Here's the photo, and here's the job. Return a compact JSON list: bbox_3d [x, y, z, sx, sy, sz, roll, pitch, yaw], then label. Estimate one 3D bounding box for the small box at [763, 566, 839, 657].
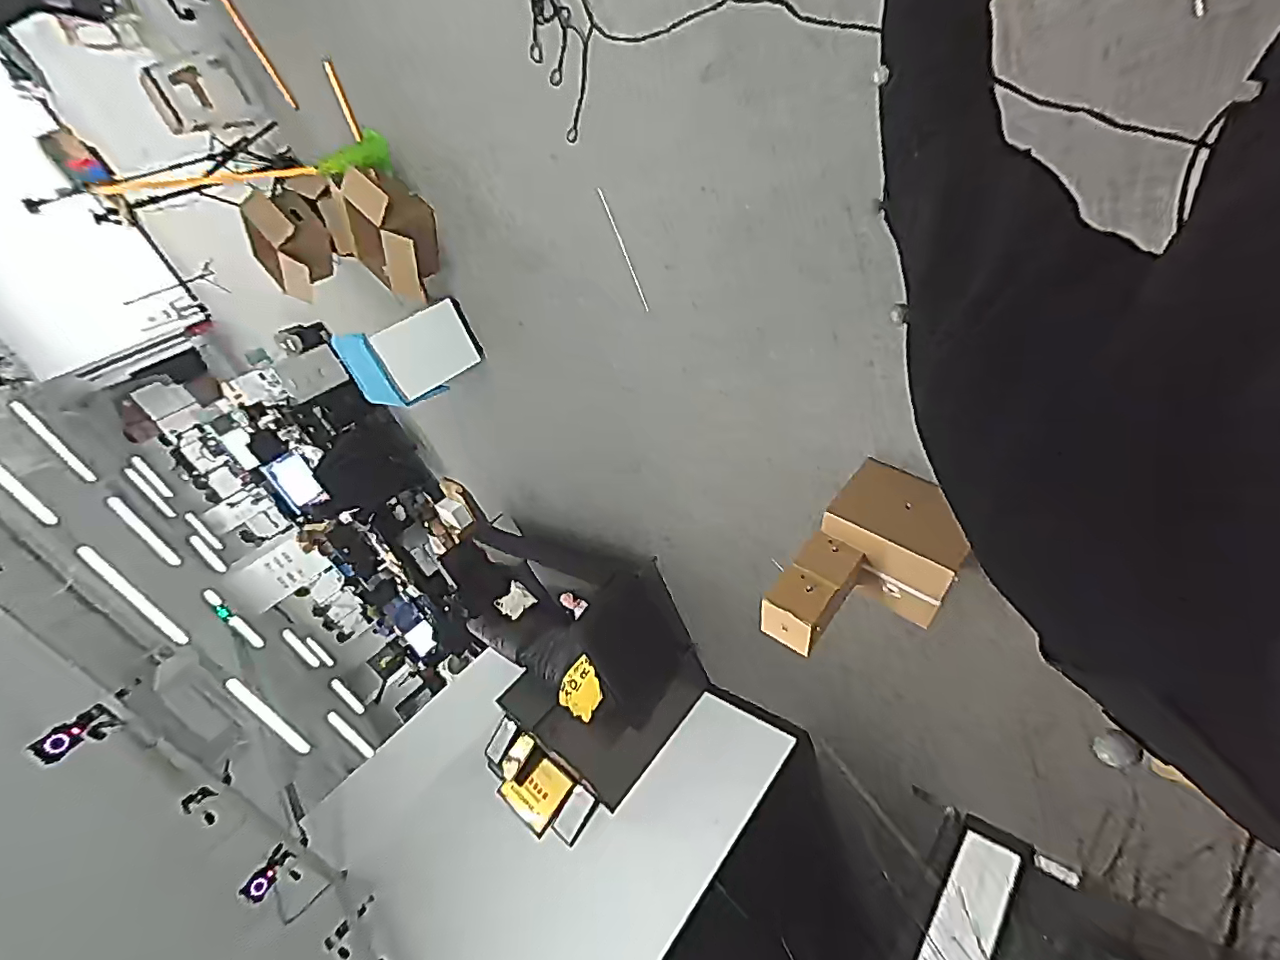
[{"bbox_3d":[0.498,0.403,1.676,0.168,0.176,0.179,26,143,34],"label":"small box"}]
